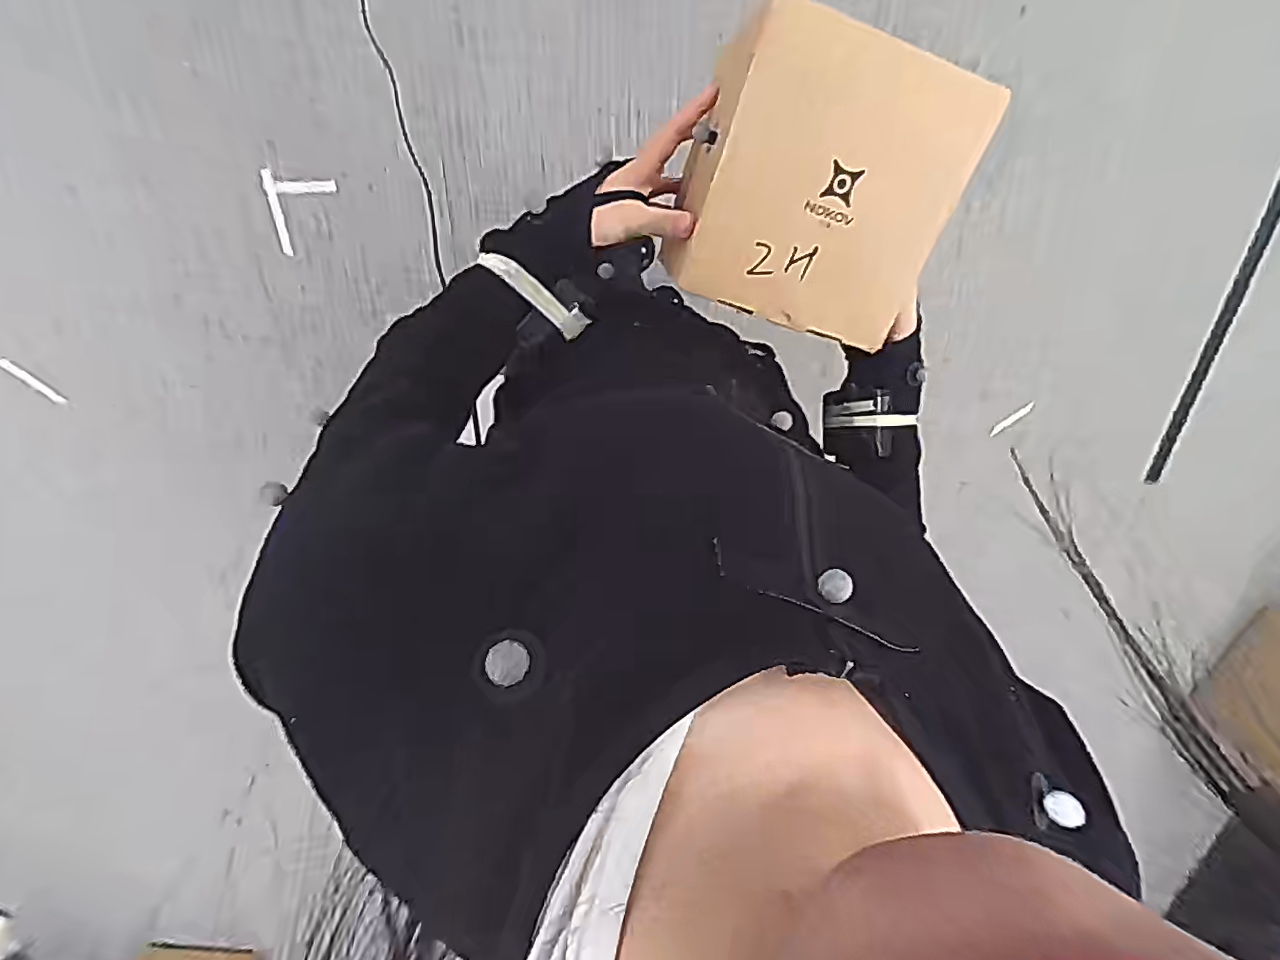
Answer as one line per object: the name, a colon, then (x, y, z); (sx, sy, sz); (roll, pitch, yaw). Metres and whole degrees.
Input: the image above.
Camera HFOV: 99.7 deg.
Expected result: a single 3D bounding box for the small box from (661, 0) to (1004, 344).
small box: (0.120, -0.232, 0.426); (0.168, 0.176, 0.179); (13, 117, -11)
